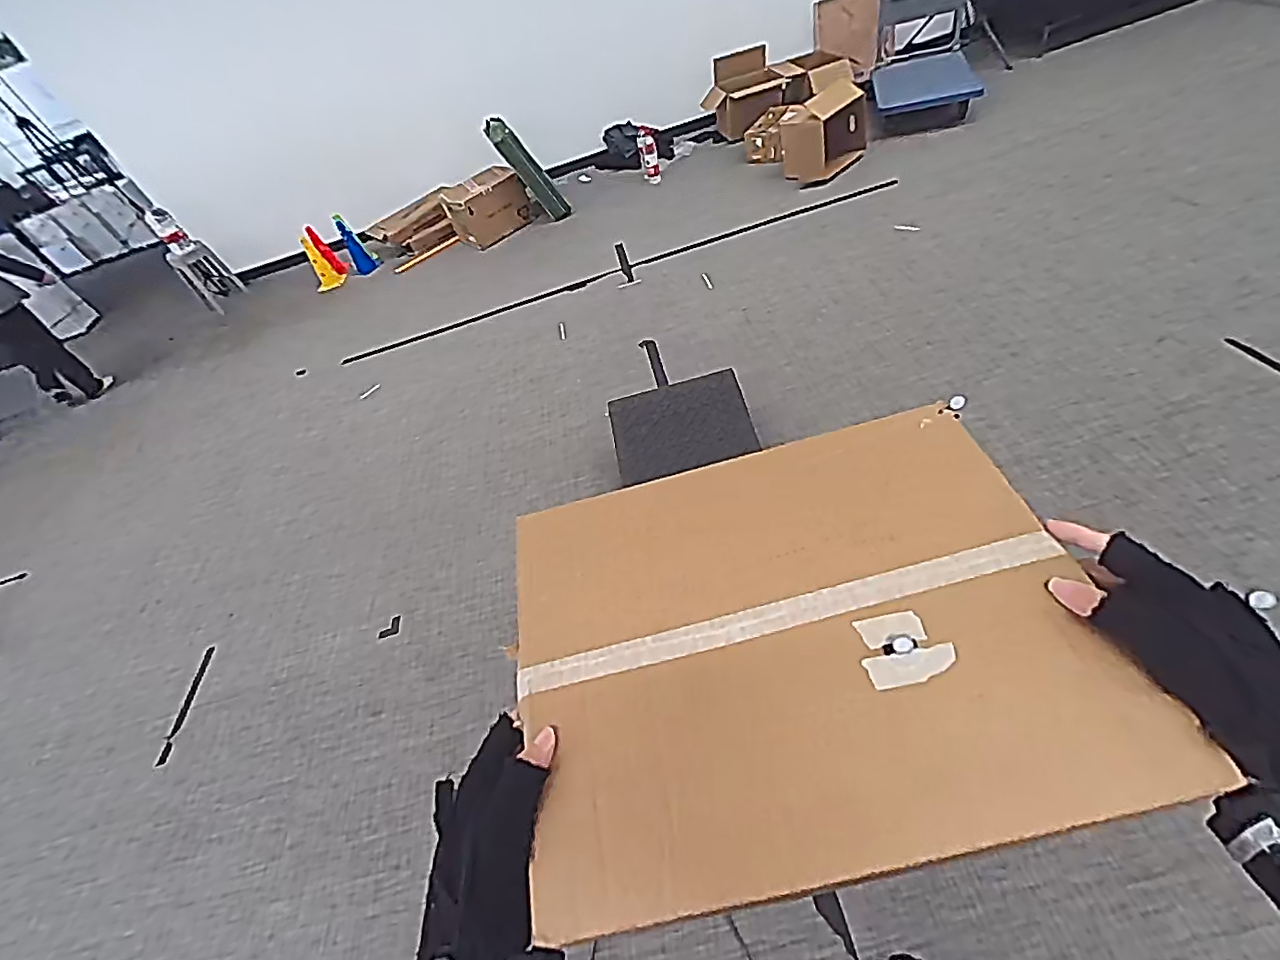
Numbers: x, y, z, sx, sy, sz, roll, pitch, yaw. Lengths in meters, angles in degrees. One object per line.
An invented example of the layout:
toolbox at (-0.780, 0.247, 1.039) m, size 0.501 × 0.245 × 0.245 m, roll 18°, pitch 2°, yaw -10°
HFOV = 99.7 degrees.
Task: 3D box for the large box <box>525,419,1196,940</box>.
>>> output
large box at (0.137, 0.200, 0.528) m, size 0.408 × 0.320 × 0.320 m, roll -16°, pitch 51°, yaw 2°
